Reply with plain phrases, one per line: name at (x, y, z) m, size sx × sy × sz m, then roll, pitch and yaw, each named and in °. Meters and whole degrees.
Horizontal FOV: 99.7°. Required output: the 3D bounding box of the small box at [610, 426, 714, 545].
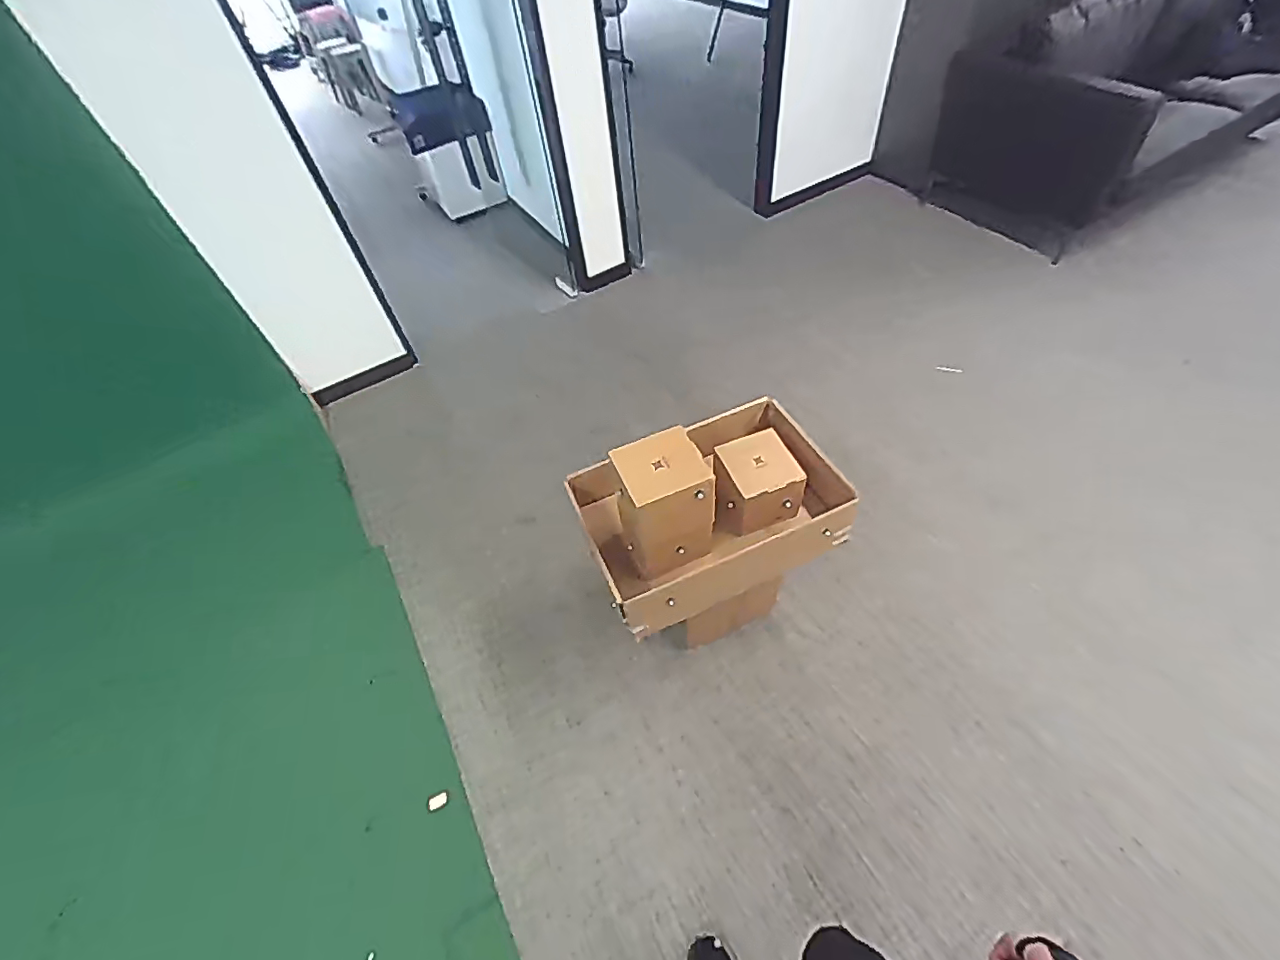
small box at (0.053, 0.017, 1.188) m, size 0.179 × 0.176 × 0.168 m, roll -22°, pitch 53°, yaw -9°
